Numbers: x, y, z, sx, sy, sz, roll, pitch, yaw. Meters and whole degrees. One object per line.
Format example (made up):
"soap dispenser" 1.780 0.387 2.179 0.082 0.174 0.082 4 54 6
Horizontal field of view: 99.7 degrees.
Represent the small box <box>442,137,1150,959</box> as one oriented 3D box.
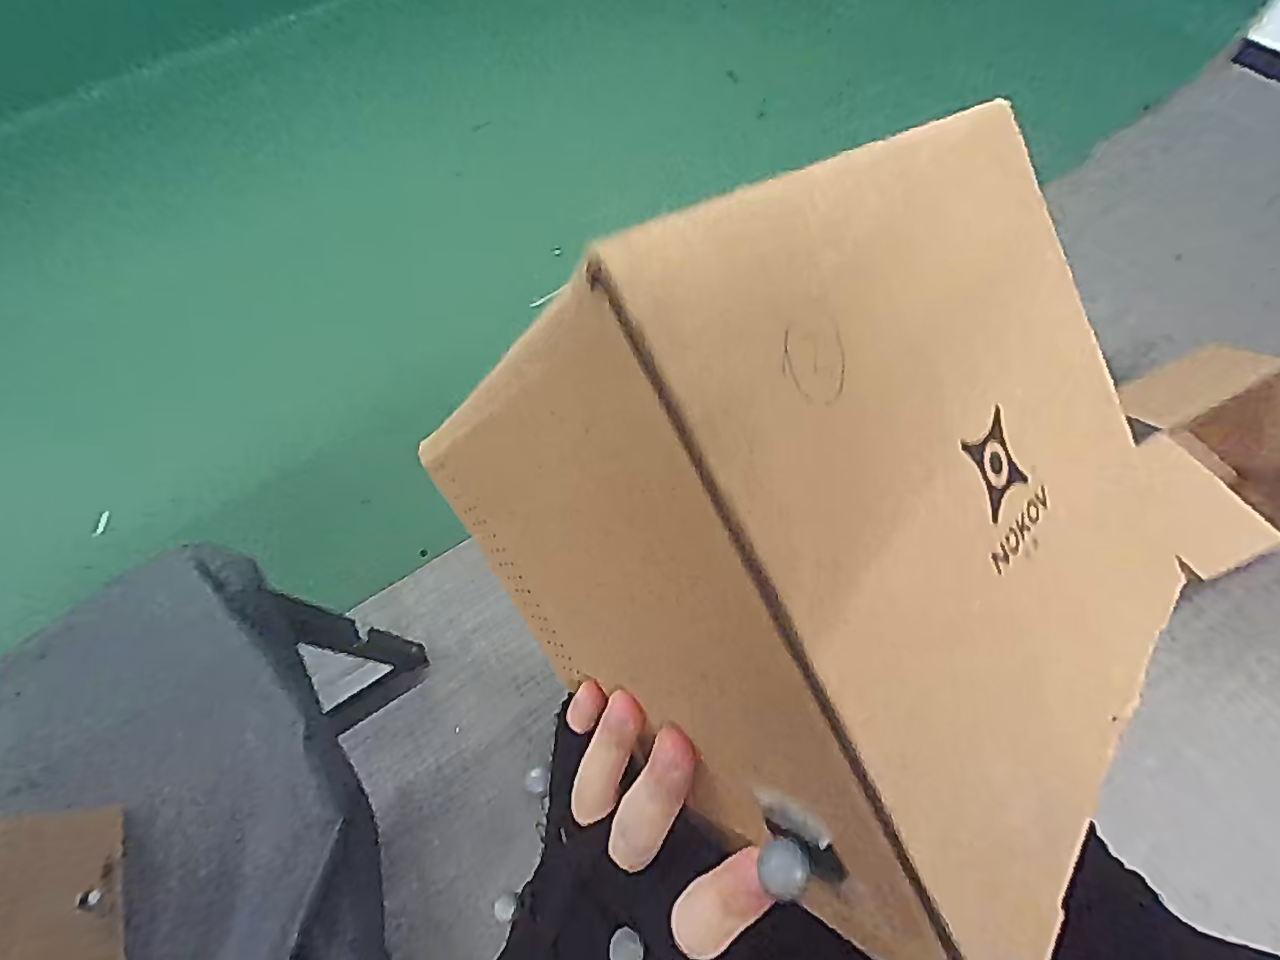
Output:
"small box" 0.048 0.013 0.212 0.168 0.176 0.179 -34 103 -29
